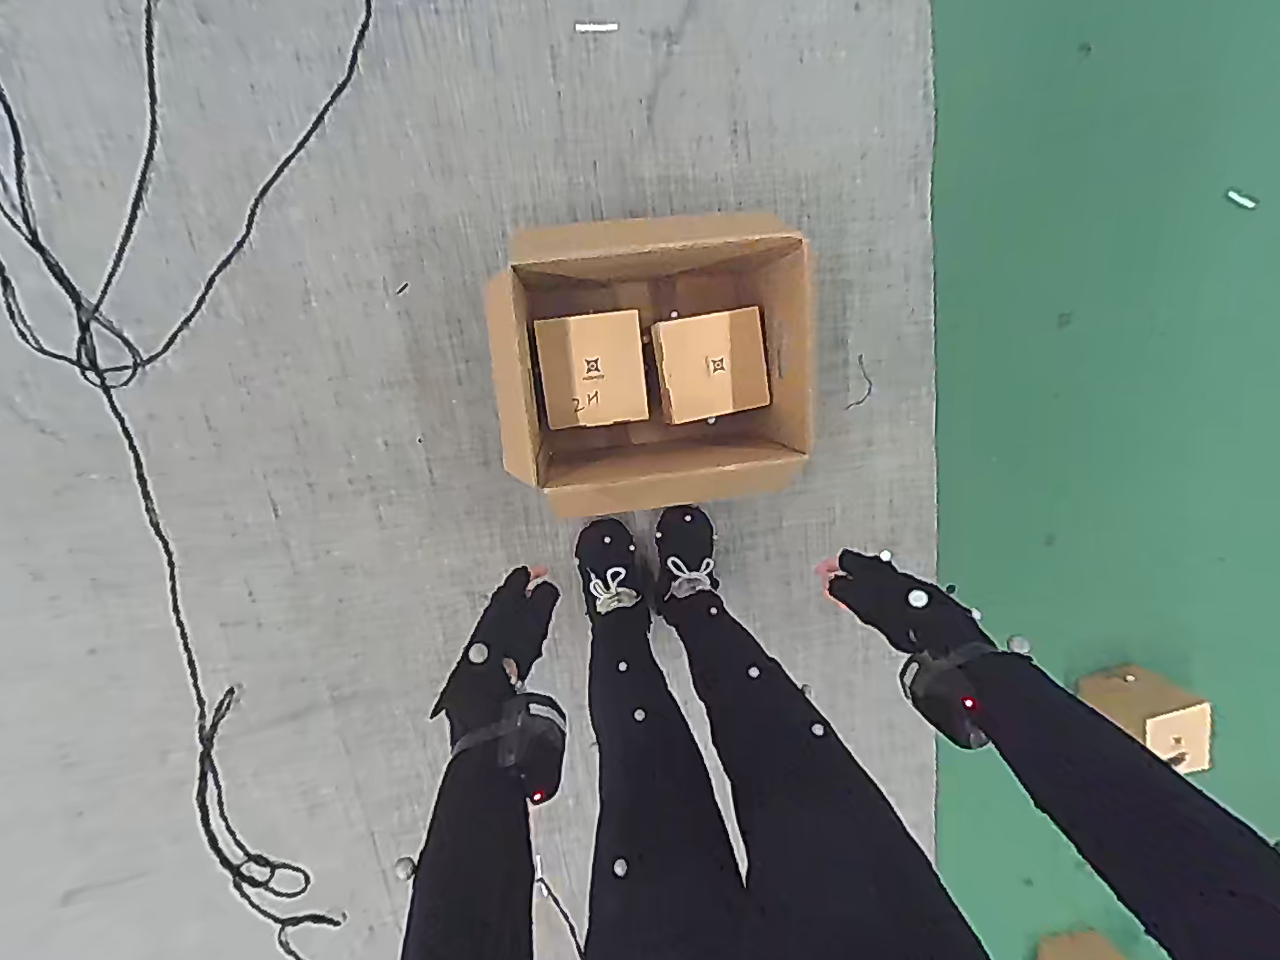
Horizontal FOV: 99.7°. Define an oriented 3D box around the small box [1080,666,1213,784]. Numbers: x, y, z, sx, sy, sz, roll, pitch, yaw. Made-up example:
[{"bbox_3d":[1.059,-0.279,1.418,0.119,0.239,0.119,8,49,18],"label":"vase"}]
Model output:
[{"bbox_3d":[1.194,0.576,1.288,0.168,0.176,0.179,-11,102,-5],"label":"small box"}]
